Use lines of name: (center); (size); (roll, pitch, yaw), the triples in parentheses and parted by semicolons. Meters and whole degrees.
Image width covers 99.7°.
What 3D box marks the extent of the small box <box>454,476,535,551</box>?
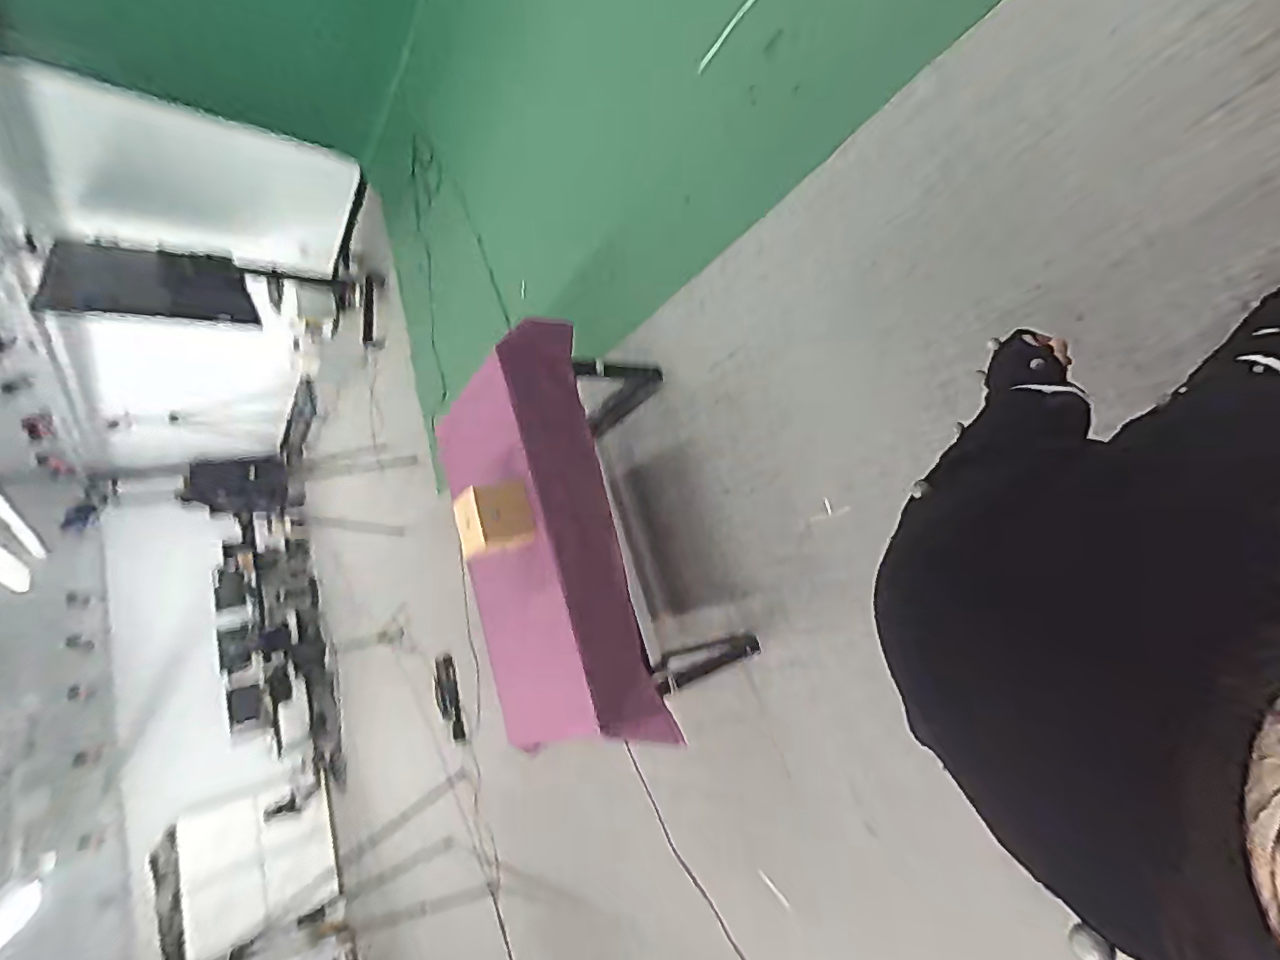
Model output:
small box: (-0.435, 0.098, 1.628); (0.168, 0.176, 0.179); (-29, 73, 46)
